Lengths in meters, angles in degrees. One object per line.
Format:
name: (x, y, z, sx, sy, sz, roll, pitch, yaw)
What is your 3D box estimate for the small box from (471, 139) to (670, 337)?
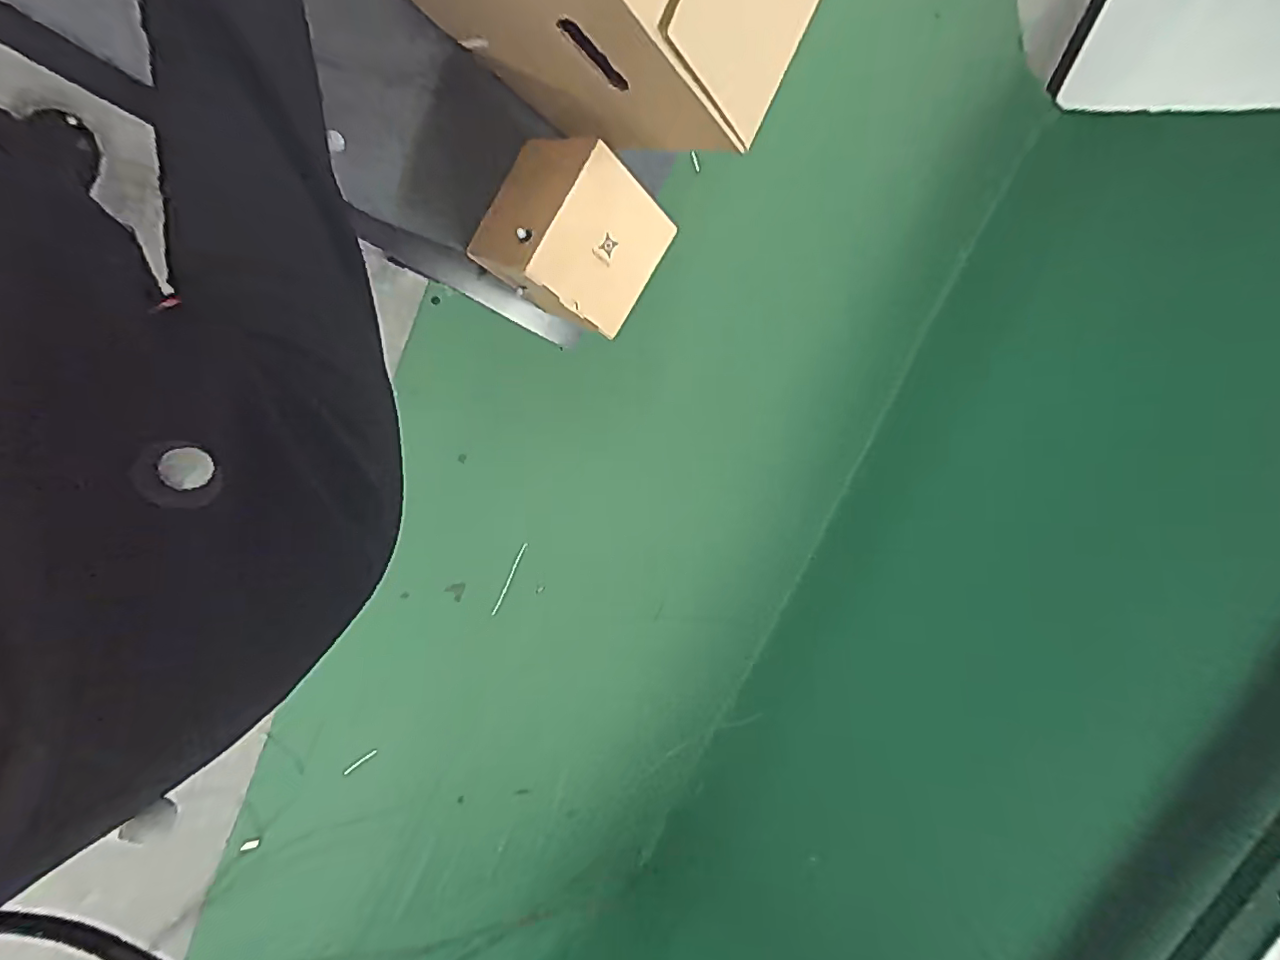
small box: (-0.098, -0.330, 0.733, 0.168, 0.176, 0.179, 27, 98, -49)
